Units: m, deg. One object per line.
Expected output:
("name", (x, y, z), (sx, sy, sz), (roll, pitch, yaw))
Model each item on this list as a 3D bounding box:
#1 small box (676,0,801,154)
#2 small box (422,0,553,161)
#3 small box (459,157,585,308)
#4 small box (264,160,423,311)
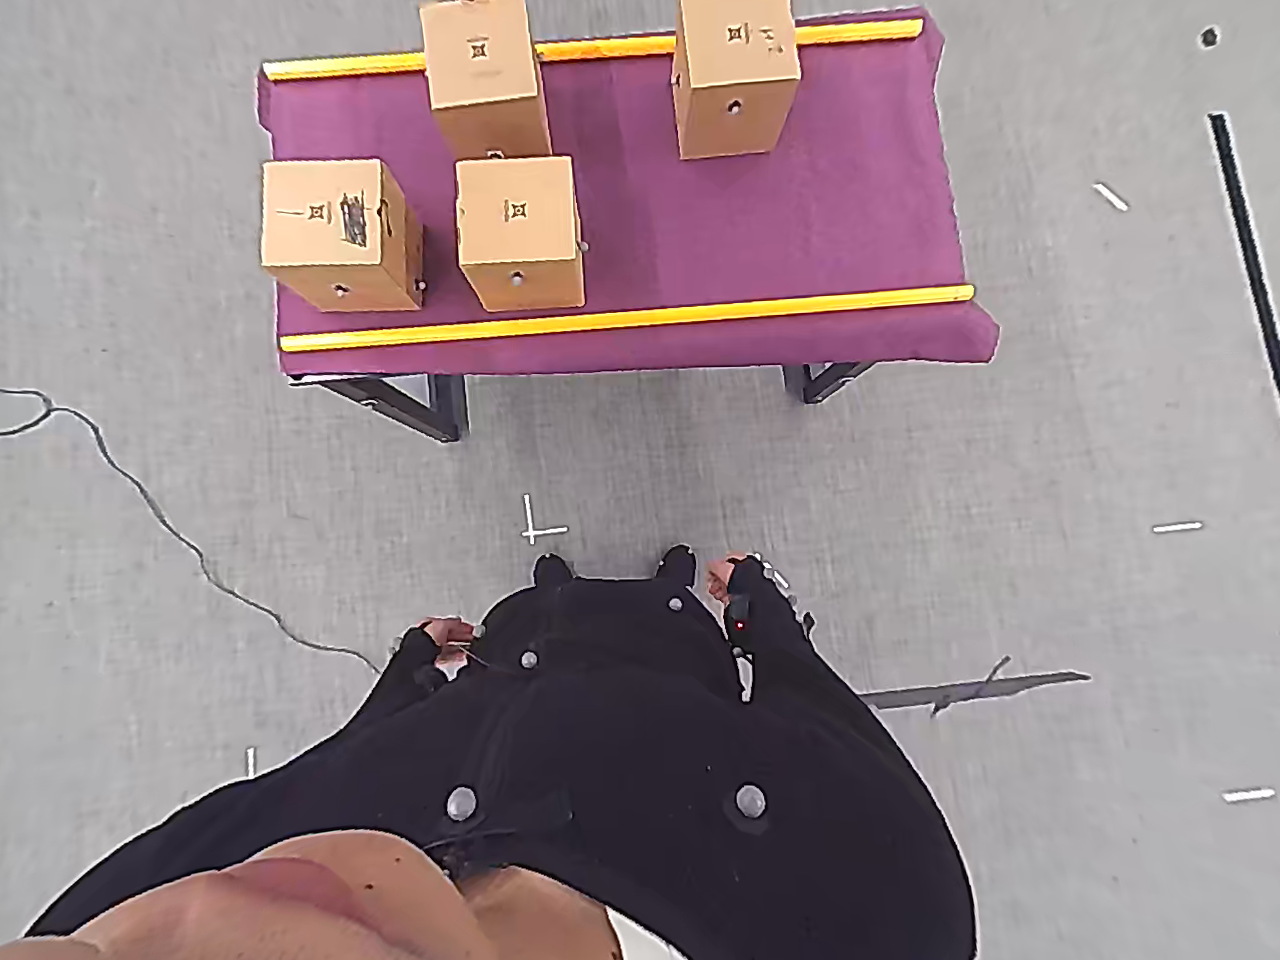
("small box", (0.155, -0.683, 0.914), (0.179, 0.176, 0.168), (-6, 86, -1))
("small box", (-0.246, -0.655, 0.906), (0.168, 0.176, 0.179), (-8, 86, -1))
("small box", (-0.182, -0.394, 0.883), (0.179, 0.176, 0.168), (-4, 84, -1))
("small box", (-0.465, -0.385, 0.875), (0.179, 0.176, 0.168), (-1, 85, -1))
